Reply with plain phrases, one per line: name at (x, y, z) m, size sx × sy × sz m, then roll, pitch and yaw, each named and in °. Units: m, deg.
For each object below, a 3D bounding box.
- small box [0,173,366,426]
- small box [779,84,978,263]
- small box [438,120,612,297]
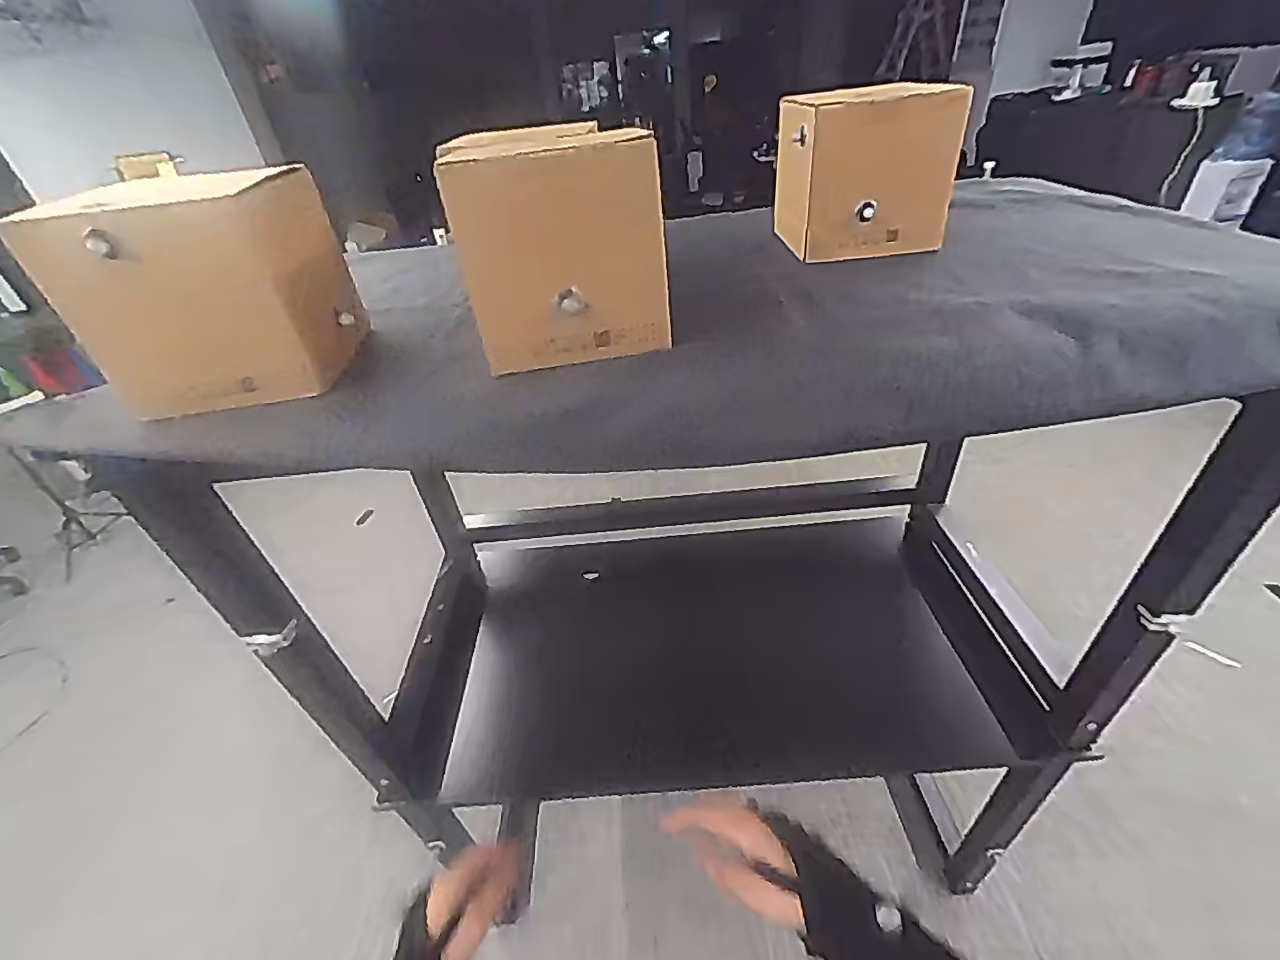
small box at (-0.379, -0.170, 0.499) m, size 0.168 × 0.176 × 0.179 m, roll -10°, pitch 37°, yaw -4°
small box at (0.276, -0.384, 0.678) m, size 0.168 × 0.176 × 0.179 m, roll -6°, pitch 38°, yaw 2°
small box at (-0.128, -0.340, 0.686) m, size 0.168 × 0.176 × 0.179 m, roll -3°, pitch 38°, yaw 3°
